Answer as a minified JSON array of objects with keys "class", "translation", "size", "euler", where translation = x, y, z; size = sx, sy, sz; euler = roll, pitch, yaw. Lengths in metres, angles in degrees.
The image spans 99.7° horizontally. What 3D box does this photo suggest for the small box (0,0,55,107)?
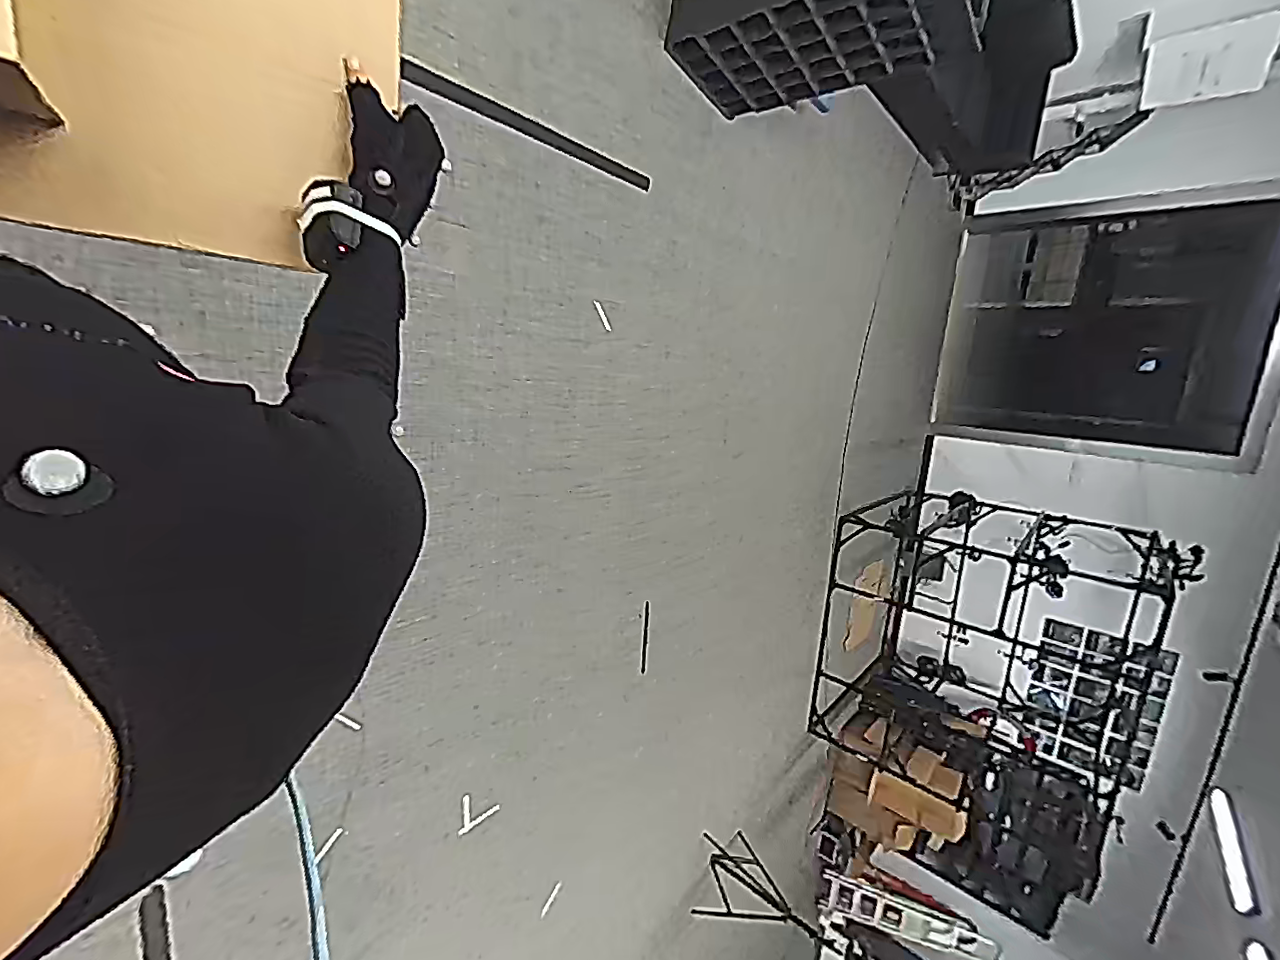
[{"class":"small box","translation":[-0.428,-0.316,0.268],"size":[0.179,0.176,0.168],"euler":[-2,108,-40]}]
